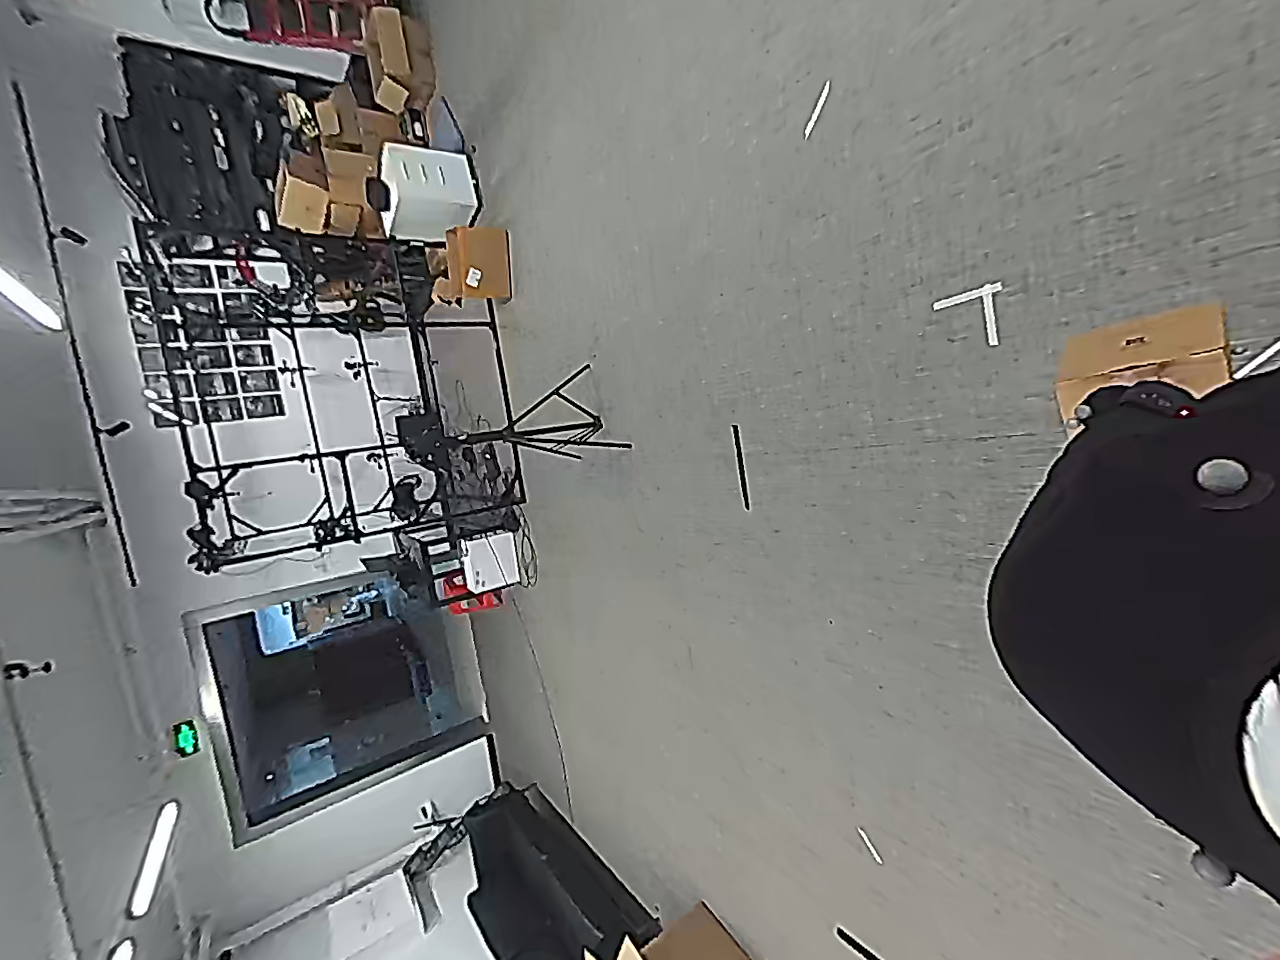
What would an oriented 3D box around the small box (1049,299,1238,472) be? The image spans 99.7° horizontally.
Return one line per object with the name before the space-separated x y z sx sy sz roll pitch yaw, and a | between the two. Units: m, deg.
small box | 0.708 -0.121 0.761 0.168 0.179 0.176 -8 117 48
